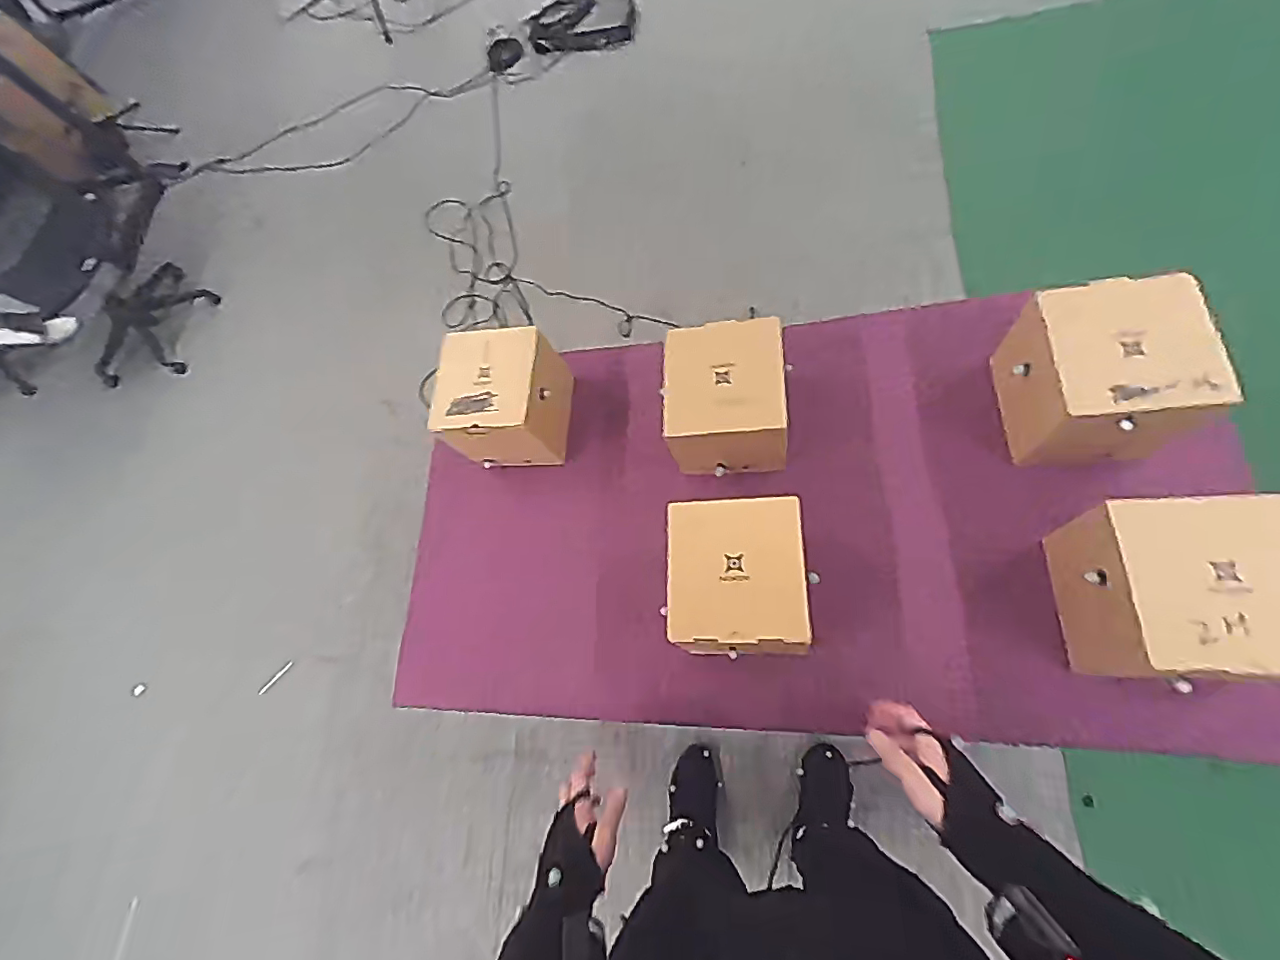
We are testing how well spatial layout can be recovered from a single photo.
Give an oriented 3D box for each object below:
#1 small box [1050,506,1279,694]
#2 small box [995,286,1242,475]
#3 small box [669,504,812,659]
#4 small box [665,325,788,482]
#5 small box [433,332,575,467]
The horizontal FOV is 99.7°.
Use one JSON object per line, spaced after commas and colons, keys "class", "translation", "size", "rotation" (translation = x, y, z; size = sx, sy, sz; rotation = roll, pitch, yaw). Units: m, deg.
{"class": "small box", "translation": [0.595, 0.138, 0.602], "size": [0.168, 0.176, 0.179], "rotation": [-2, 68, 16]}
{"class": "small box", "translation": [0.594, -0.120, 0.705], "size": [0.168, 0.176, 0.179], "rotation": [-4, 68, 14]}
{"class": "small box", "translation": [0.135, 0.142, 0.728], "size": [0.168, 0.176, 0.179], "rotation": [-3, 69, 13]}
{"class": "small box", "translation": [0.137, -0.108, 0.824], "size": [0.168, 0.176, 0.179], "rotation": [-3, 70, 15]}
{"class": "small box", "translation": [-0.219, -0.126, 0.919], "size": [0.168, 0.176, 0.179], "rotation": [0, 71, 14]}
